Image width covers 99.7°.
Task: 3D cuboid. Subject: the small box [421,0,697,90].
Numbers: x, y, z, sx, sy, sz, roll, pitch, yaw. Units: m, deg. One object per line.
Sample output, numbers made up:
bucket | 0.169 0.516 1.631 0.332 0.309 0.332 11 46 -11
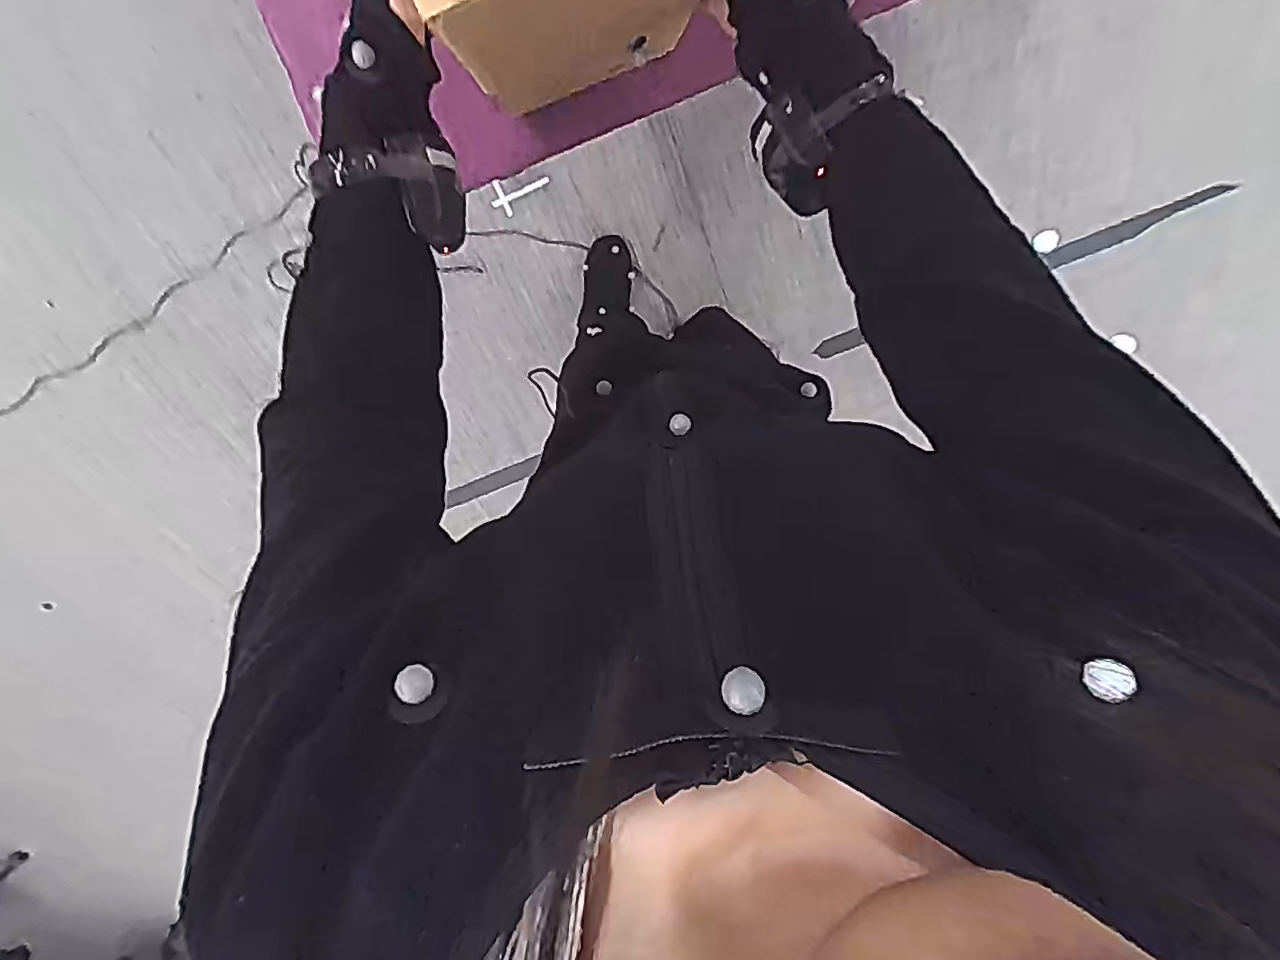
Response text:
small box | -0.044 -0.320 0.253 0.179 0.176 0.168 -23 117 4

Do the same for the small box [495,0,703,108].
small box | -0.061 -0.401 0.394 0.168 0.176 0.179 -21 116 3
